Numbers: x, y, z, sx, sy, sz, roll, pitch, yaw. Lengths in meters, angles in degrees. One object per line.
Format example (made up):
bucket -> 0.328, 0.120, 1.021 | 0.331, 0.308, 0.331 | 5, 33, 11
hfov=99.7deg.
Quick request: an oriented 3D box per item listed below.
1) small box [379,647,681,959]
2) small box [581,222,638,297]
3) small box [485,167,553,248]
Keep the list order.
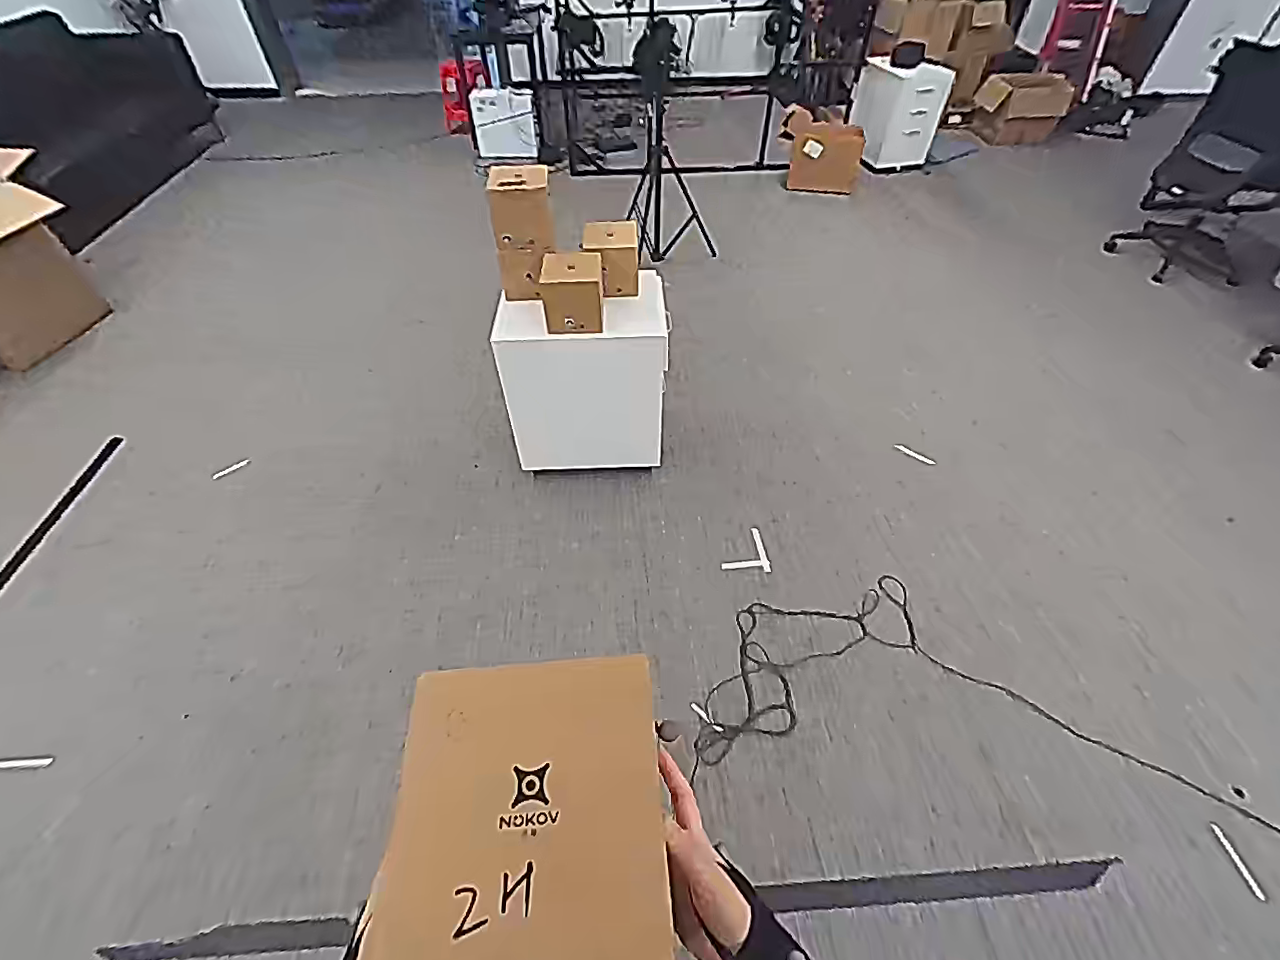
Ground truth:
small box -> -0.062, 0.244, 0.403 | 0.168, 0.176, 0.179 | -4, 52, -1
small box -> -0.094, -0.696, 1.720 | 0.168, 0.176, 0.179 | -2, 49, 0
small box -> -0.348, -0.796, 1.588 | 0.168, 0.176, 0.179 | -4, 49, -4
